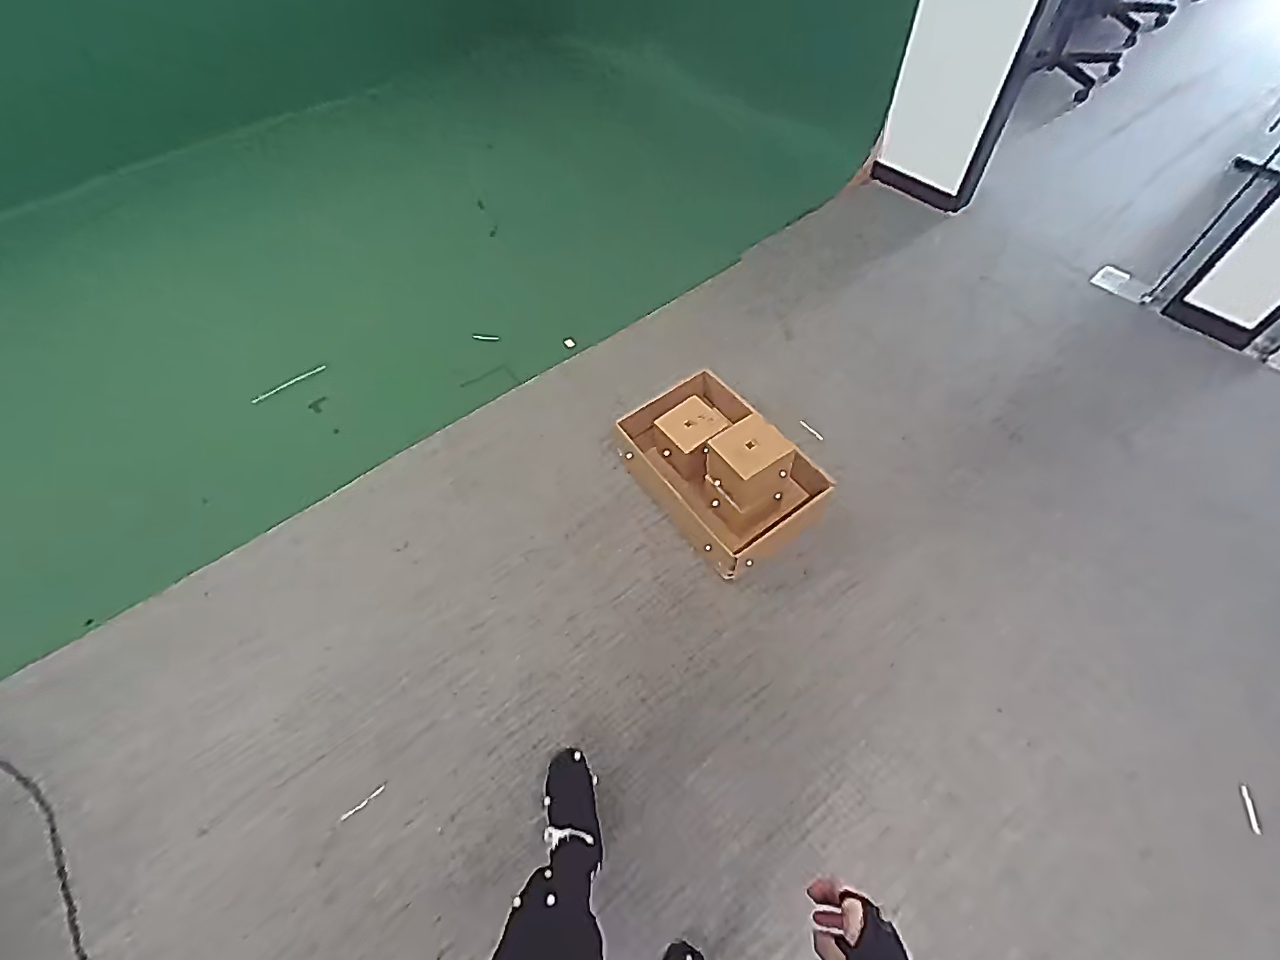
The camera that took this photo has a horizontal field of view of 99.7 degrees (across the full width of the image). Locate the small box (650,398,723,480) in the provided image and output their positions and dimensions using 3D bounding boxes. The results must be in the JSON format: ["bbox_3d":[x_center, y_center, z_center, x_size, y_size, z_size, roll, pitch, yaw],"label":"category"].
[{"bbox_3d":[0.153,-0.129,1.779,0.179,0.176,0.168,-34,63,-16],"label":"small box"}]

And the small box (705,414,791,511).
[{"bbox_3d":[0.294,-0.045,1.522,0.179,0.176,0.168,-31,58,-14],"label":"small box"}]

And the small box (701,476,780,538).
[{"bbox_3d":[0.303,0.047,1.657,0.179,0.176,0.168,-33,61,-16],"label":"small box"}]
